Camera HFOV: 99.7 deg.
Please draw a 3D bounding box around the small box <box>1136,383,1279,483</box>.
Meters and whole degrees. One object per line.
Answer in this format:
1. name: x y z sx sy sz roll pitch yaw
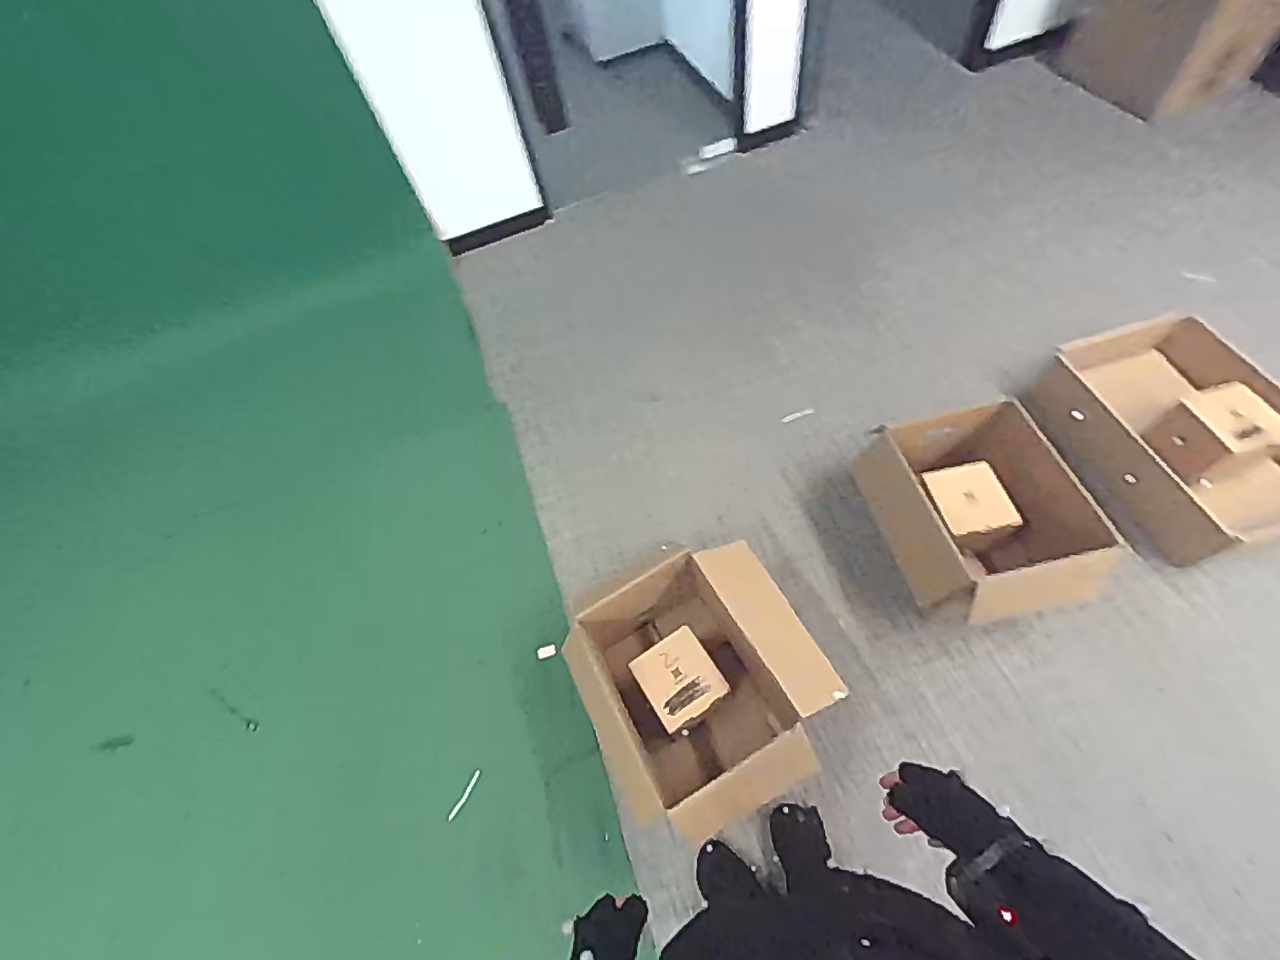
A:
1. small box: 1.431 -0.109 1.362 0.168 0.176 0.179 -14 57 0
